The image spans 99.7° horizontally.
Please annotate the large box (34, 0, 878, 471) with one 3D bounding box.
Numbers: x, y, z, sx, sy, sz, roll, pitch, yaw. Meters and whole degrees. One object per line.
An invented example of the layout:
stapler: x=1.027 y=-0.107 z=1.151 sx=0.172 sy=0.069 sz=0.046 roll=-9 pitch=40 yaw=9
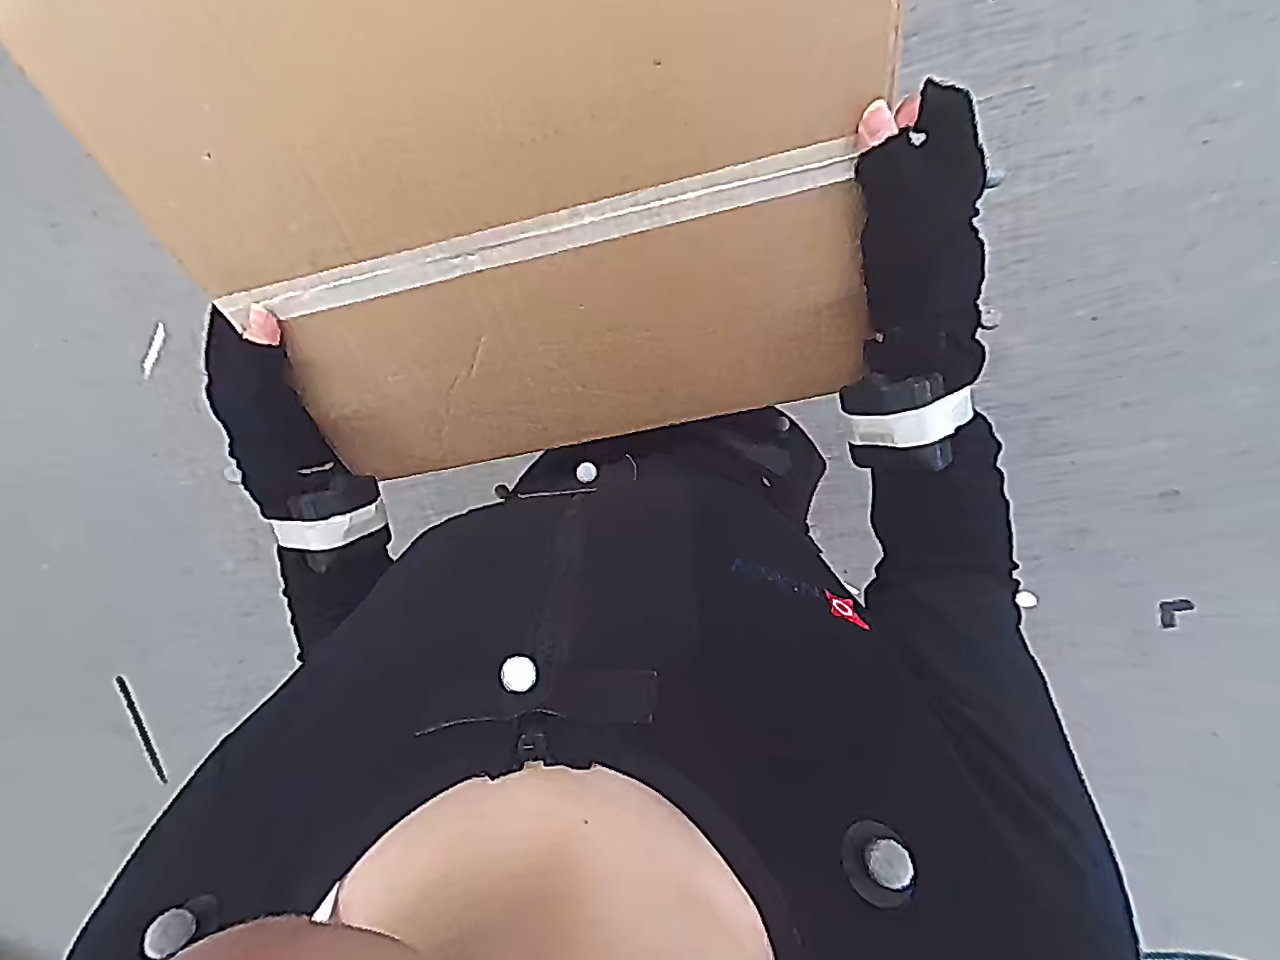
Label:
large box: x=-0.067 y=-0.253 z=0.435 sx=0.408 sy=0.320 sz=0.320 roll=-10 pitch=133 yaw=8
